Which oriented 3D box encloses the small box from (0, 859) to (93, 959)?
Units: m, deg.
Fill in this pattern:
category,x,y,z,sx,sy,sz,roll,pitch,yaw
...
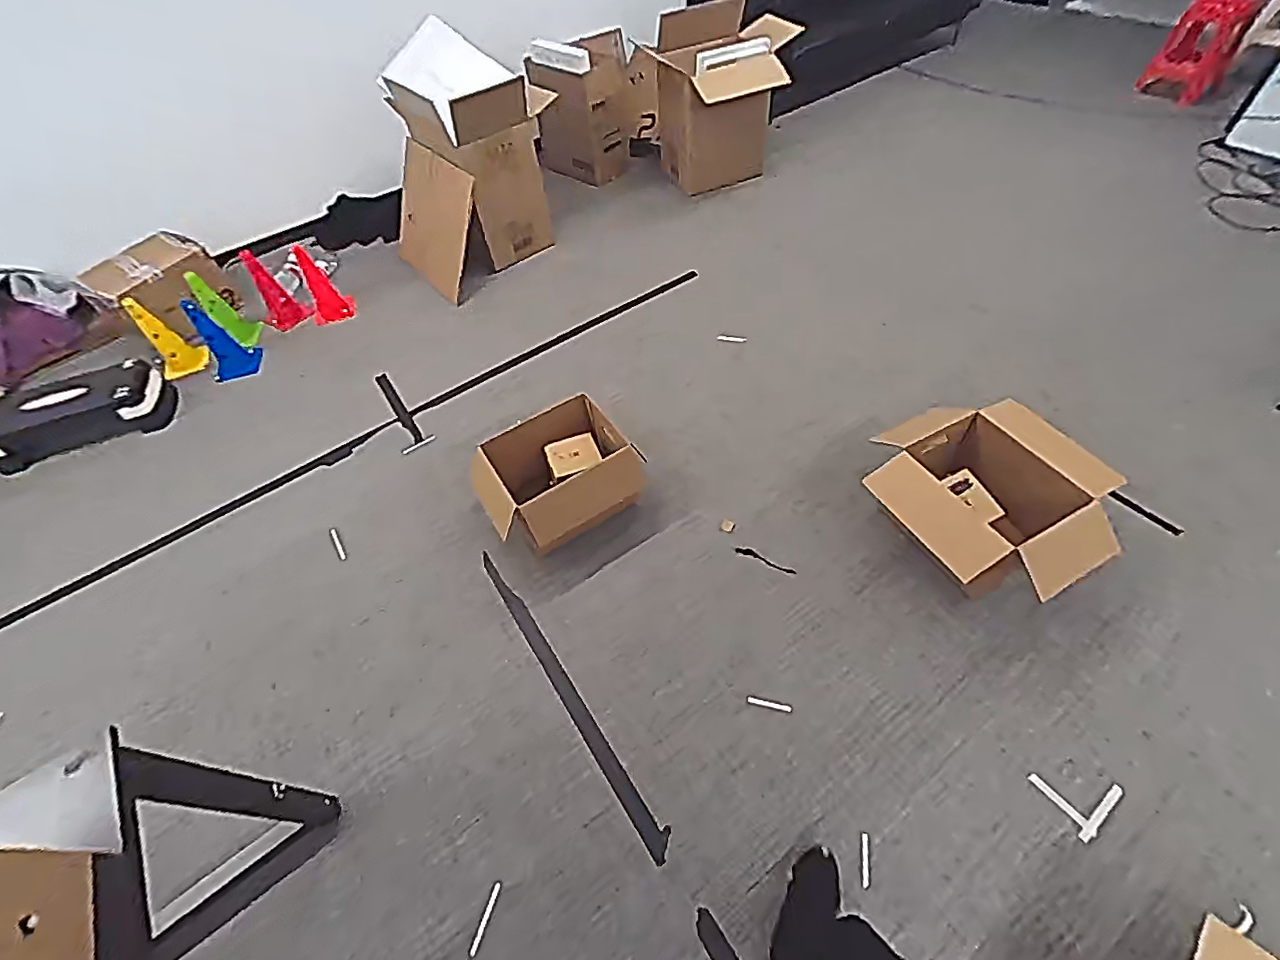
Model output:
category,x,y,z,sx,sy,sz,roll,pitch,yaw
small box,-0.796,0.582,0.629,0.168,0.176,0.179,-32,57,-16
